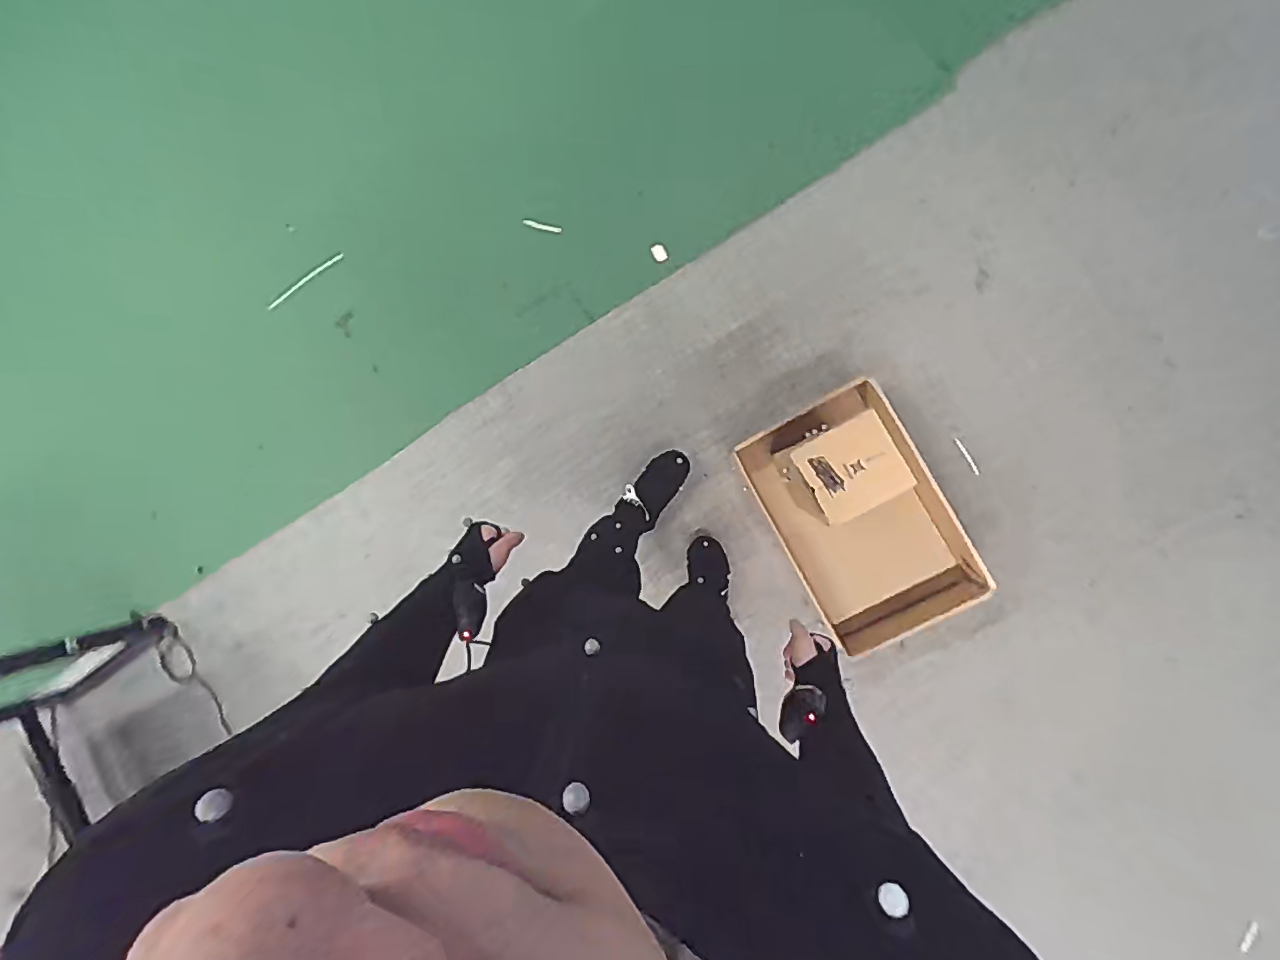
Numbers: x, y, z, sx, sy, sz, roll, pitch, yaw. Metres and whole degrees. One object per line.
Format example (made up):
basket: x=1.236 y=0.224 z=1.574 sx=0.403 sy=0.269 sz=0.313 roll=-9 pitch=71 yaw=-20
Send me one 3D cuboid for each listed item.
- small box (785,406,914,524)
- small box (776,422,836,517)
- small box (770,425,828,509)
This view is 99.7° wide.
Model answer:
small box: x=0.406 y=-0.027 z=1.086 sx=0.179 sy=0.176 sz=0.168 roll=-29 pitch=87 yaw=7
small box: x=0.433 y=-0.032 z=1.248 sx=0.179 sy=0.176 sz=0.168 roll=-27 pitch=87 yaw=9
small box: x=0.459 y=-0.038 z=1.409 sx=0.179 sy=0.176 sz=0.168 roll=-27 pitch=88 yaw=8
